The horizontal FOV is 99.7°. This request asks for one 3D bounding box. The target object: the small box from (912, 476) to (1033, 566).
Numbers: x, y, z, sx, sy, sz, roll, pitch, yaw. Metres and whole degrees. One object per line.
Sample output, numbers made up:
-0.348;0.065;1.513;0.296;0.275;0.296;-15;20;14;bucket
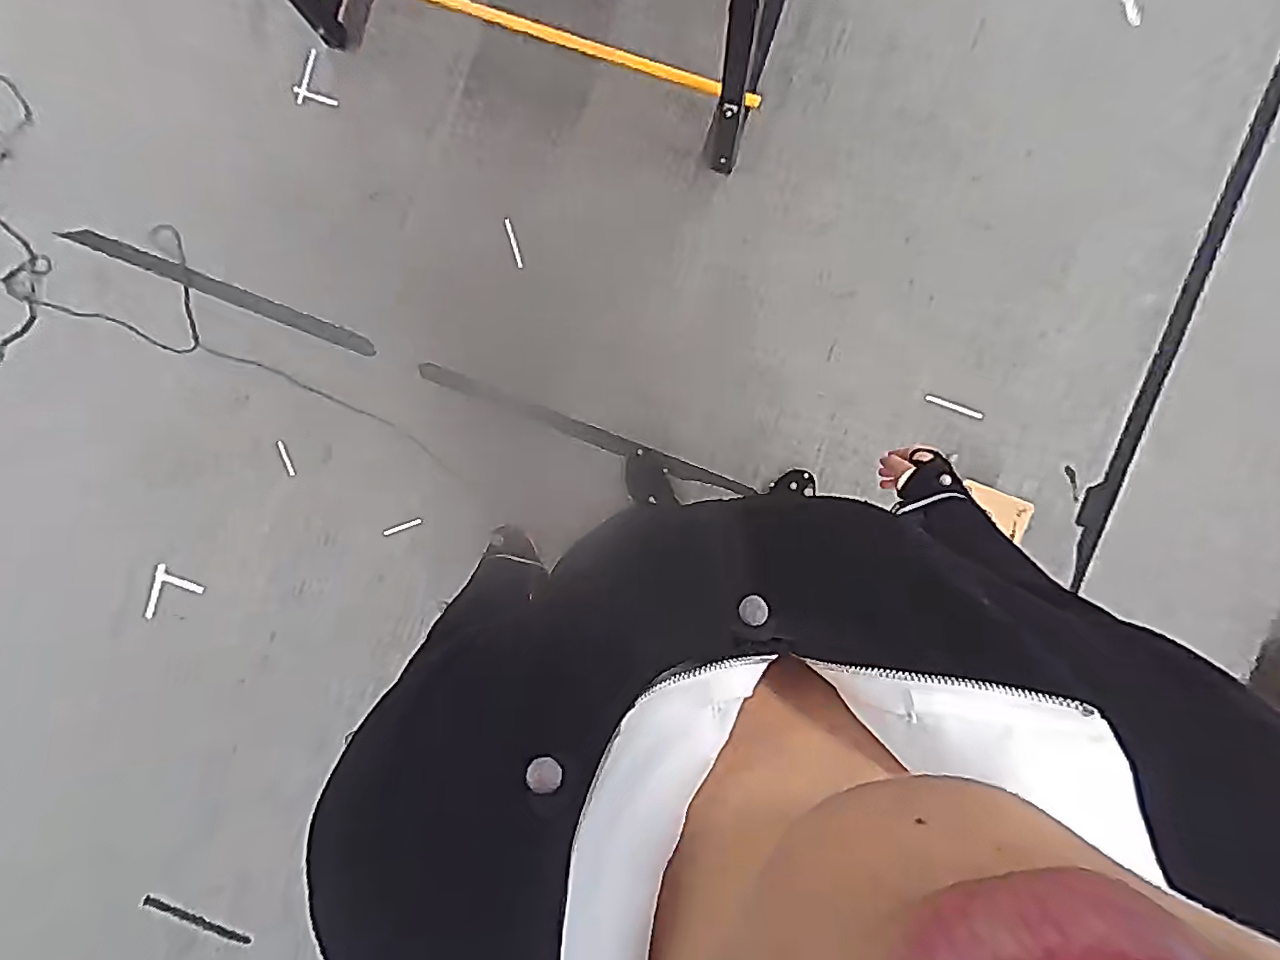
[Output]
0.822;0.098;1.359;0.179;0.176;0.168;22;94;3;small box
